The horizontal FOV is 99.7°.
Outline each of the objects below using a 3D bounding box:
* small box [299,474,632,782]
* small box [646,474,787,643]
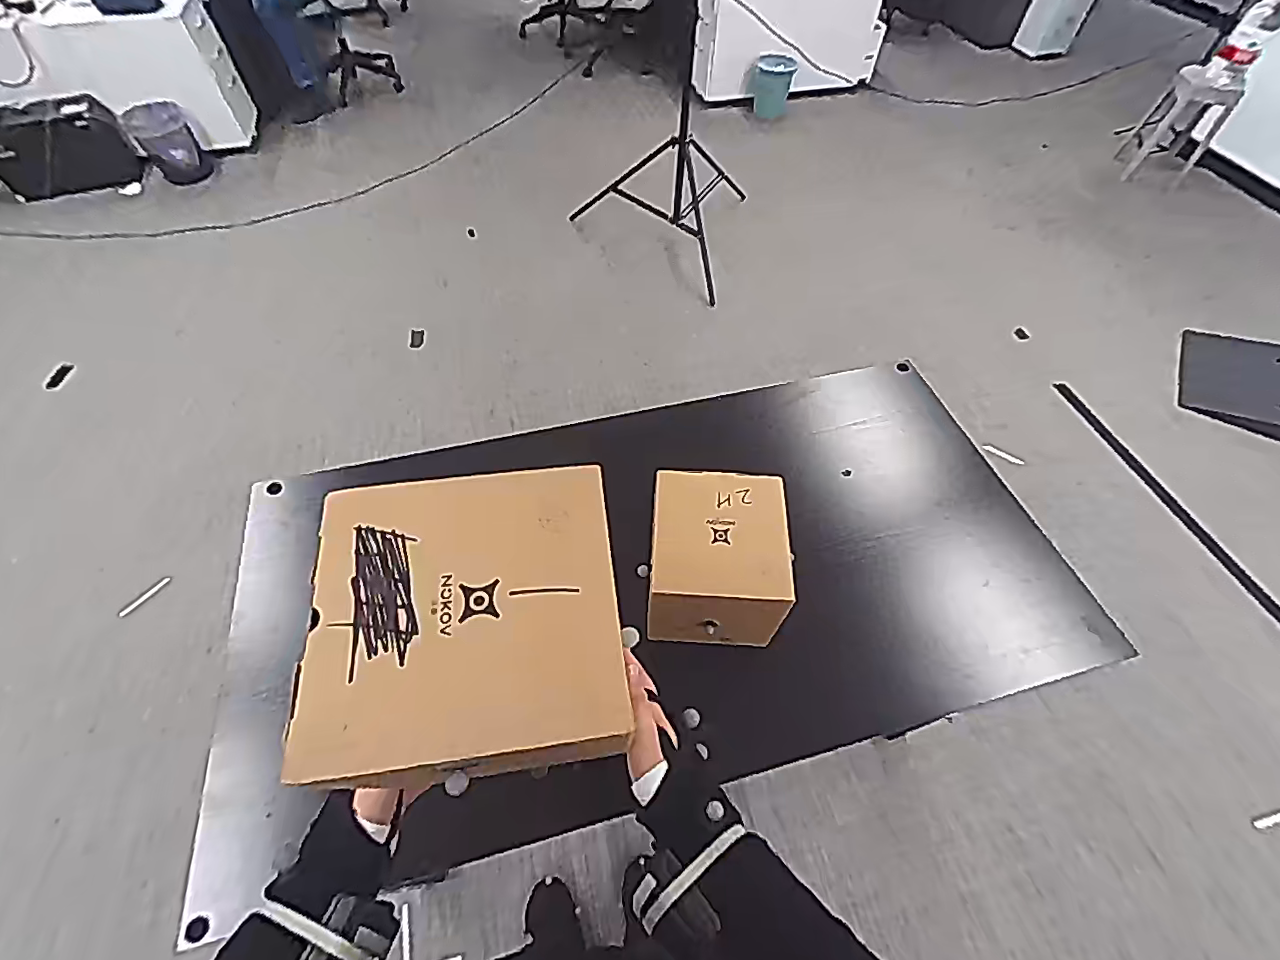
[{"bbox_3d":[-0.101,0.113,0.390,0.179,0.176,0.168,-5,61,-6],"label":"small box"},{"bbox_3d":[0.095,0.112,0.739,0.168,0.176,0.179,4,55,1],"label":"small box"}]
